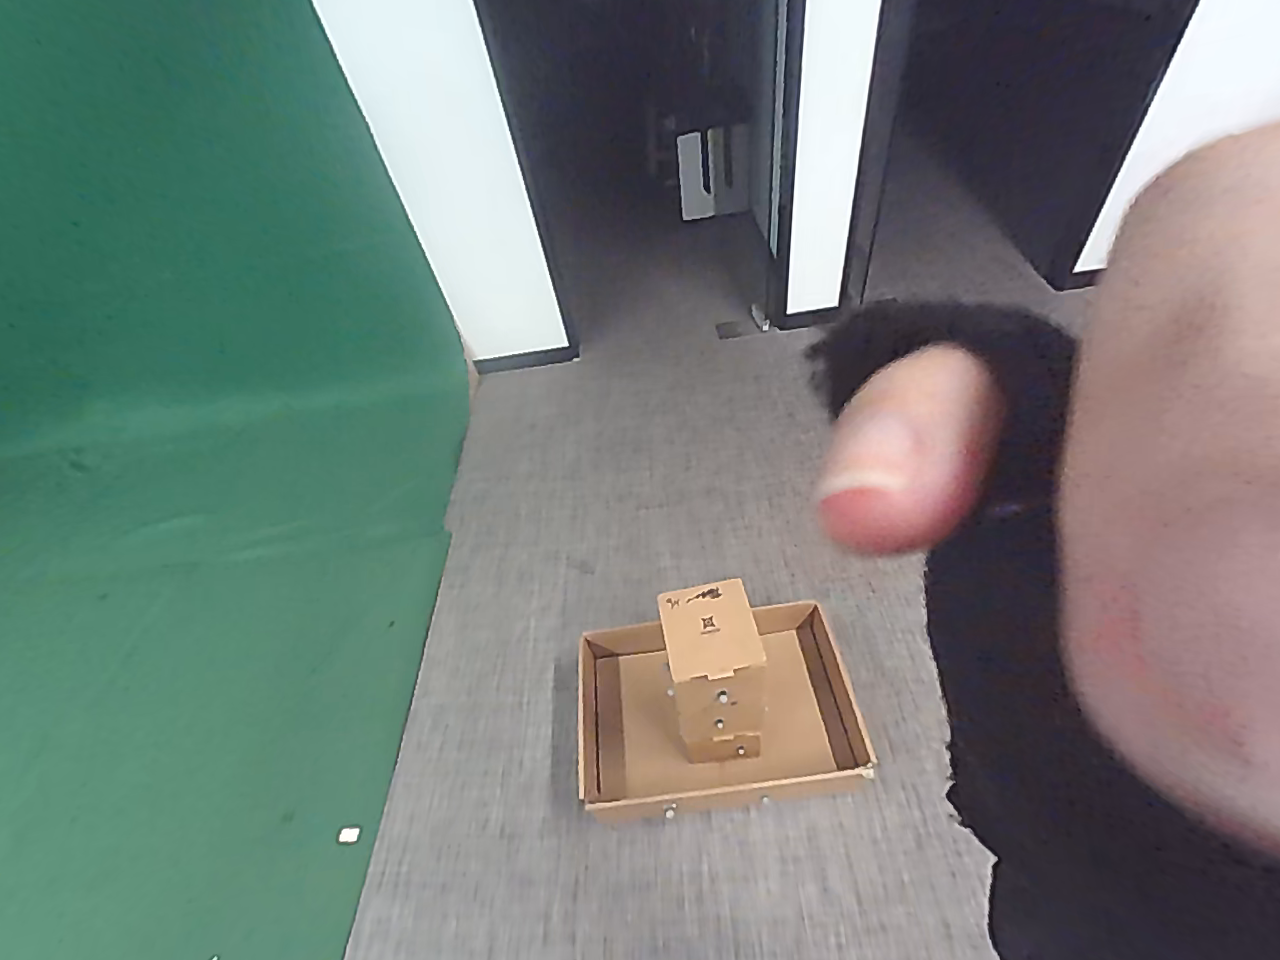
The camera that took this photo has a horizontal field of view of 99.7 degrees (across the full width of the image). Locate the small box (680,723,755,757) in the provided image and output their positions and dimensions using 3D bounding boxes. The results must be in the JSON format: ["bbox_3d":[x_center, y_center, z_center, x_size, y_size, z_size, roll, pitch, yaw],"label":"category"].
[{"bbox_3d":[0.176,0.537,1.273,0.168,0.176,0.179,-8,46,3],"label":"small box"}]

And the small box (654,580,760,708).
[{"bbox_3d":[0.129,0.320,1.033,0.168,0.176,0.179,-11,48,1],"label":"small box"}]

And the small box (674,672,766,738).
[{"bbox_3d":[0.156,0.430,1.151,0.179,0.176,0.168,-11,48,-1],"label":"small box"}]
